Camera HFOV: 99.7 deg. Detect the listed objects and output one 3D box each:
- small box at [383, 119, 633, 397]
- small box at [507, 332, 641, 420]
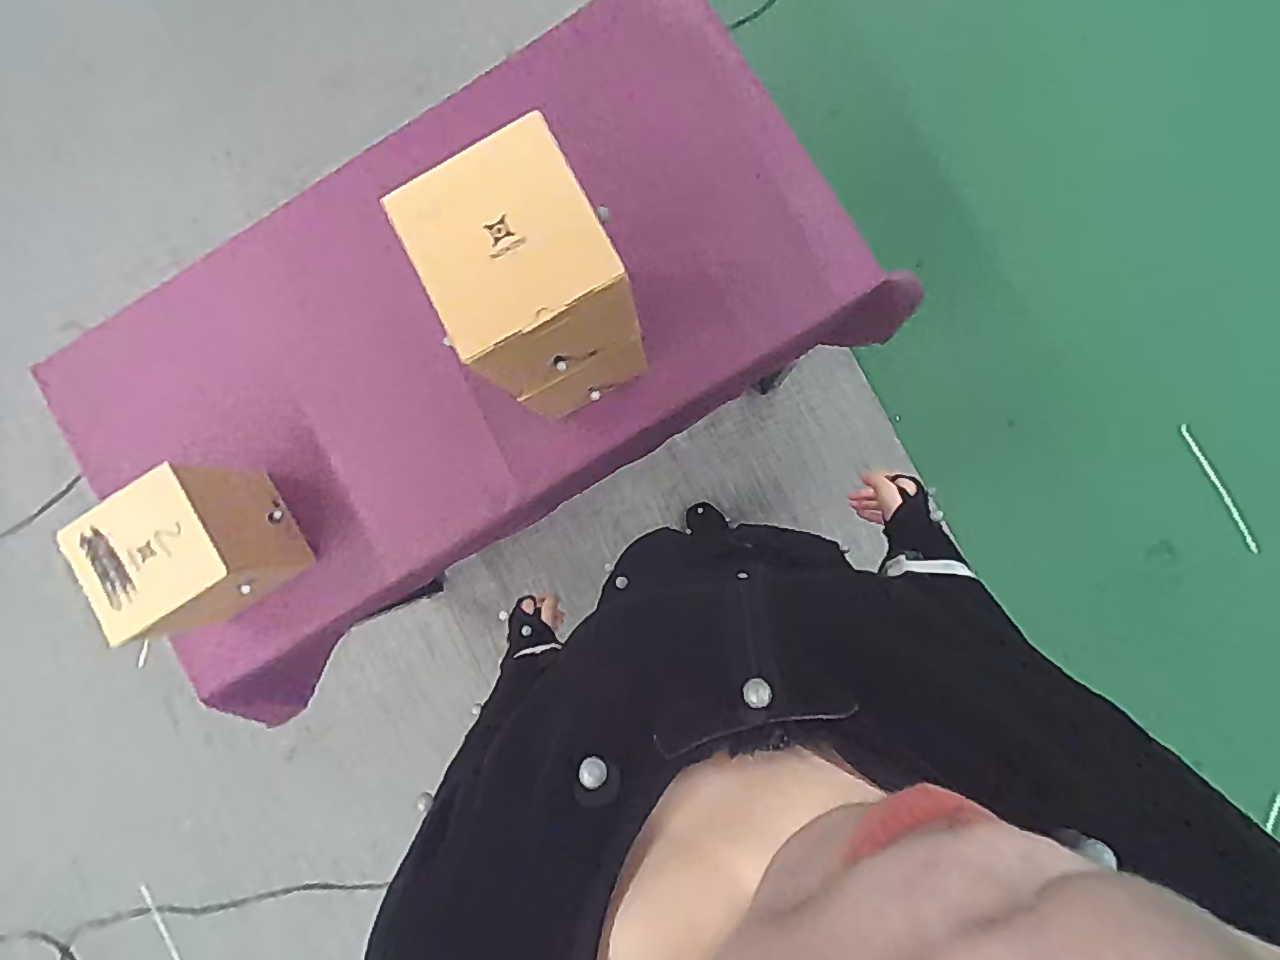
[{"bbox_3d":[-0.120,-0.209,0.561,0.168,0.176,0.179,-29,87,2],"label":"small box"},{"bbox_3d":[-0.111,-0.200,0.724,0.168,0.176,0.179,-29,86,3],"label":"small box"}]
